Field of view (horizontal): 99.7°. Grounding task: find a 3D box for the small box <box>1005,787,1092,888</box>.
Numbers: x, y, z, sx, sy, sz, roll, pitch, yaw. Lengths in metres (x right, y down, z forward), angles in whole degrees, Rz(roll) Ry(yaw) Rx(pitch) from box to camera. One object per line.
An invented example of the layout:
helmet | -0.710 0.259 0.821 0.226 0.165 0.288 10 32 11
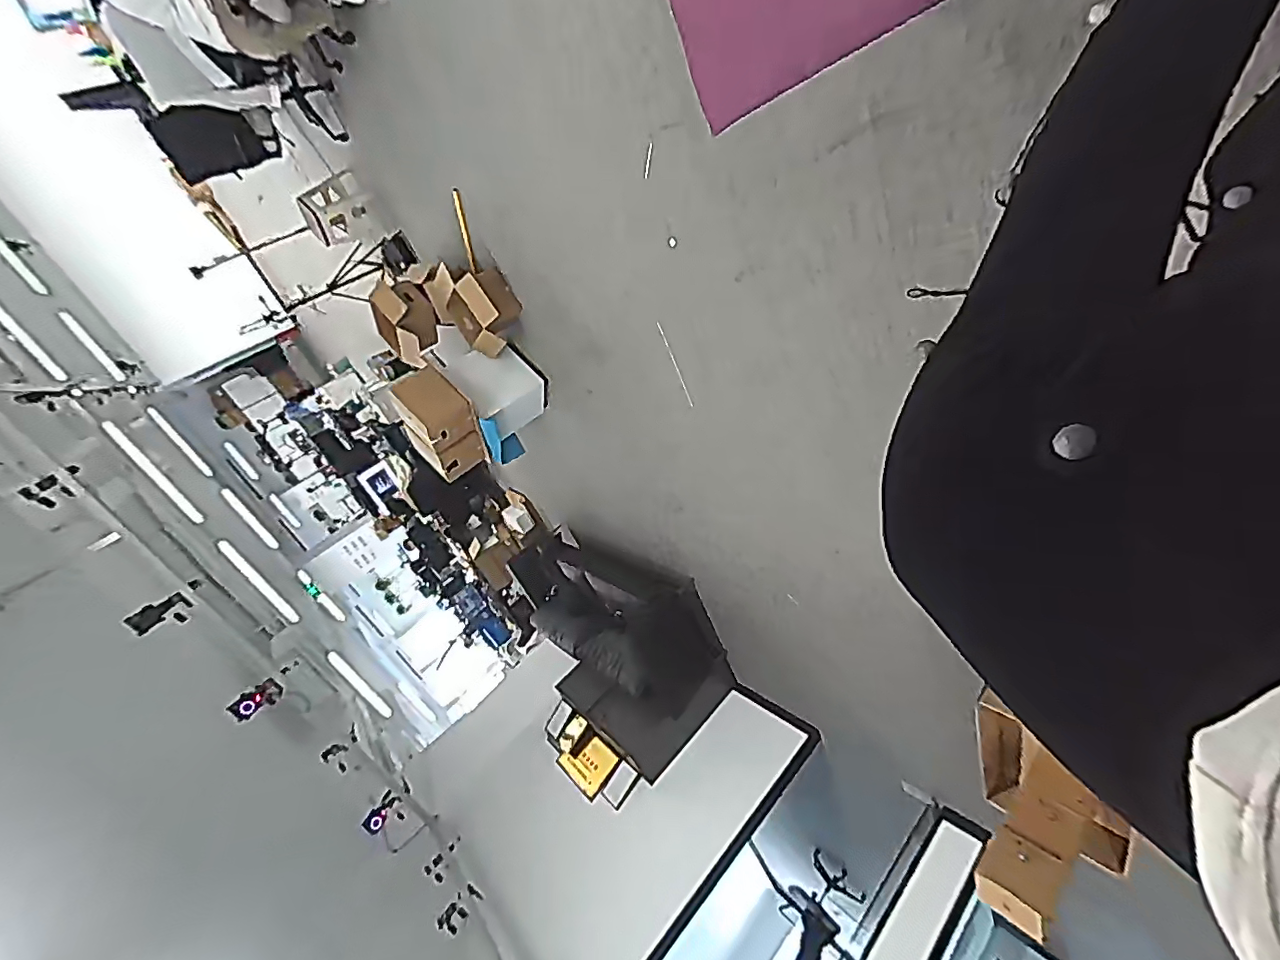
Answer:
small box | 1.230 1.081 1.630 0.168 0.176 0.179 18 137 51

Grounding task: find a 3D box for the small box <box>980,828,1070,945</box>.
small box | 1.106 1.158 1.552 0.168 0.176 0.179 15 135 51
